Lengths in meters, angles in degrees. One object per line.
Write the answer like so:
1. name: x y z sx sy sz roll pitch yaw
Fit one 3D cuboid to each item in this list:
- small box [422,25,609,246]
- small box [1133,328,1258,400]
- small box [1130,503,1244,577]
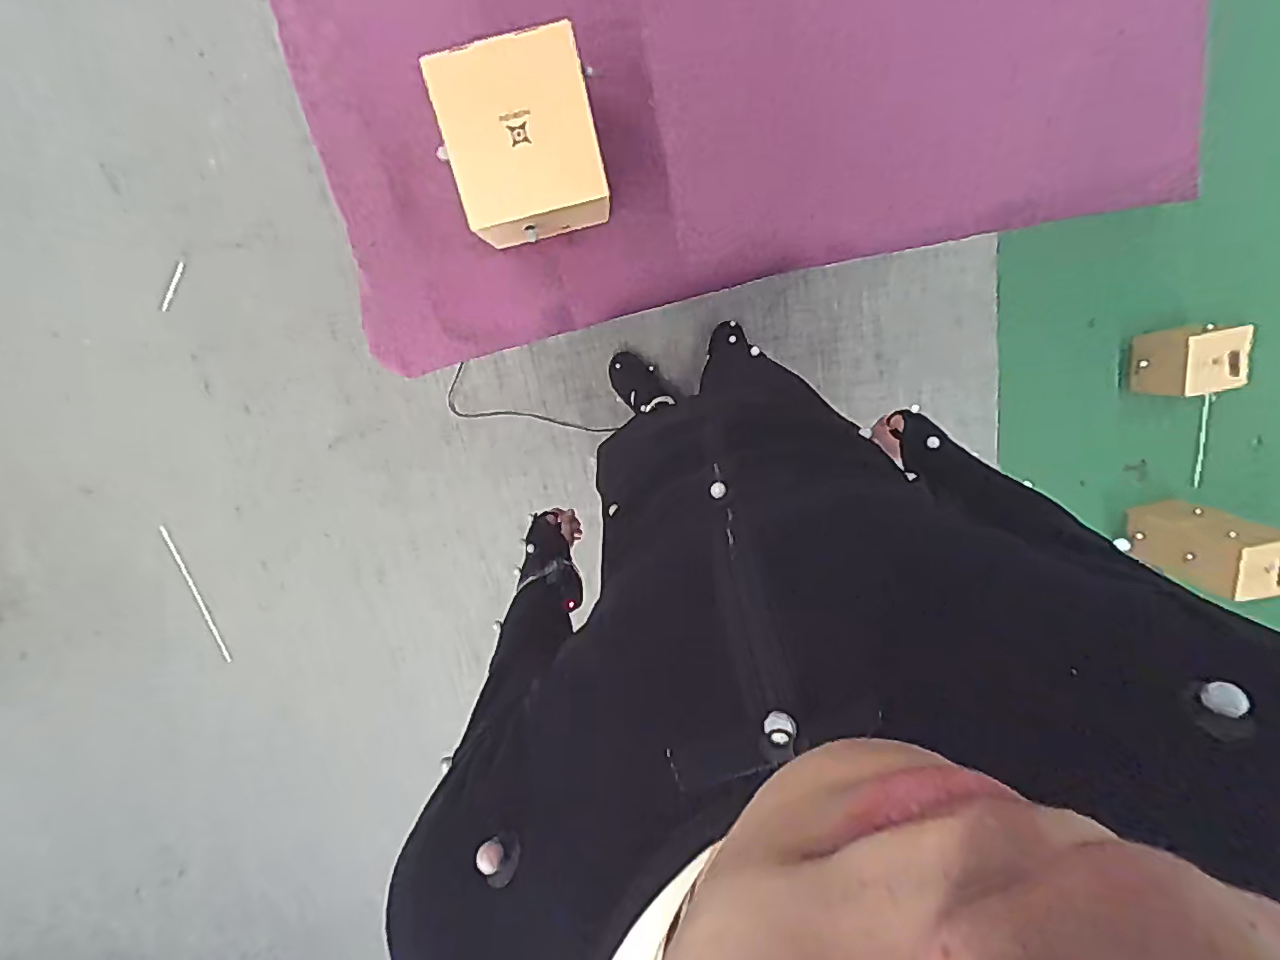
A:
1. small box: -0.136 -0.402 0.670 0.168 0.176 0.179 -14 105 1
2. small box: 1.562 -0.333 1.529 0.179 0.176 0.168 -12 105 1
3. small box: 1.690 0.179 1.680 0.179 0.176 0.168 -10 106 0
